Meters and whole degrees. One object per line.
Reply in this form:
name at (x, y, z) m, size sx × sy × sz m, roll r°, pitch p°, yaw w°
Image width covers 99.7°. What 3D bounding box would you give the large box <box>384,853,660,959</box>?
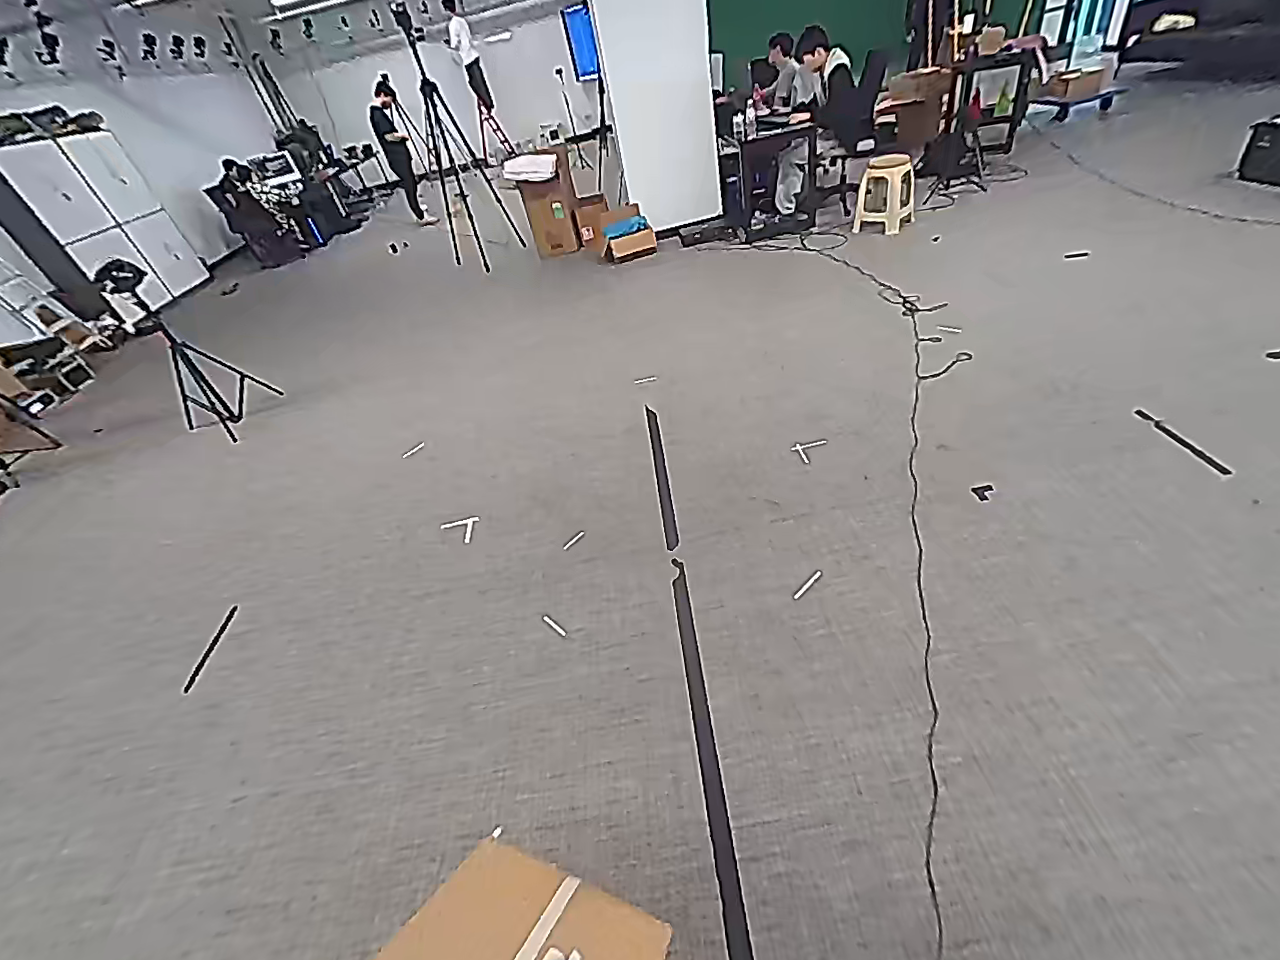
large box at (-0.199, 0.762, 0.626) m, size 0.320 × 0.320 × 0.408 m, roll 14°, pitch 3°, yaw 17°
